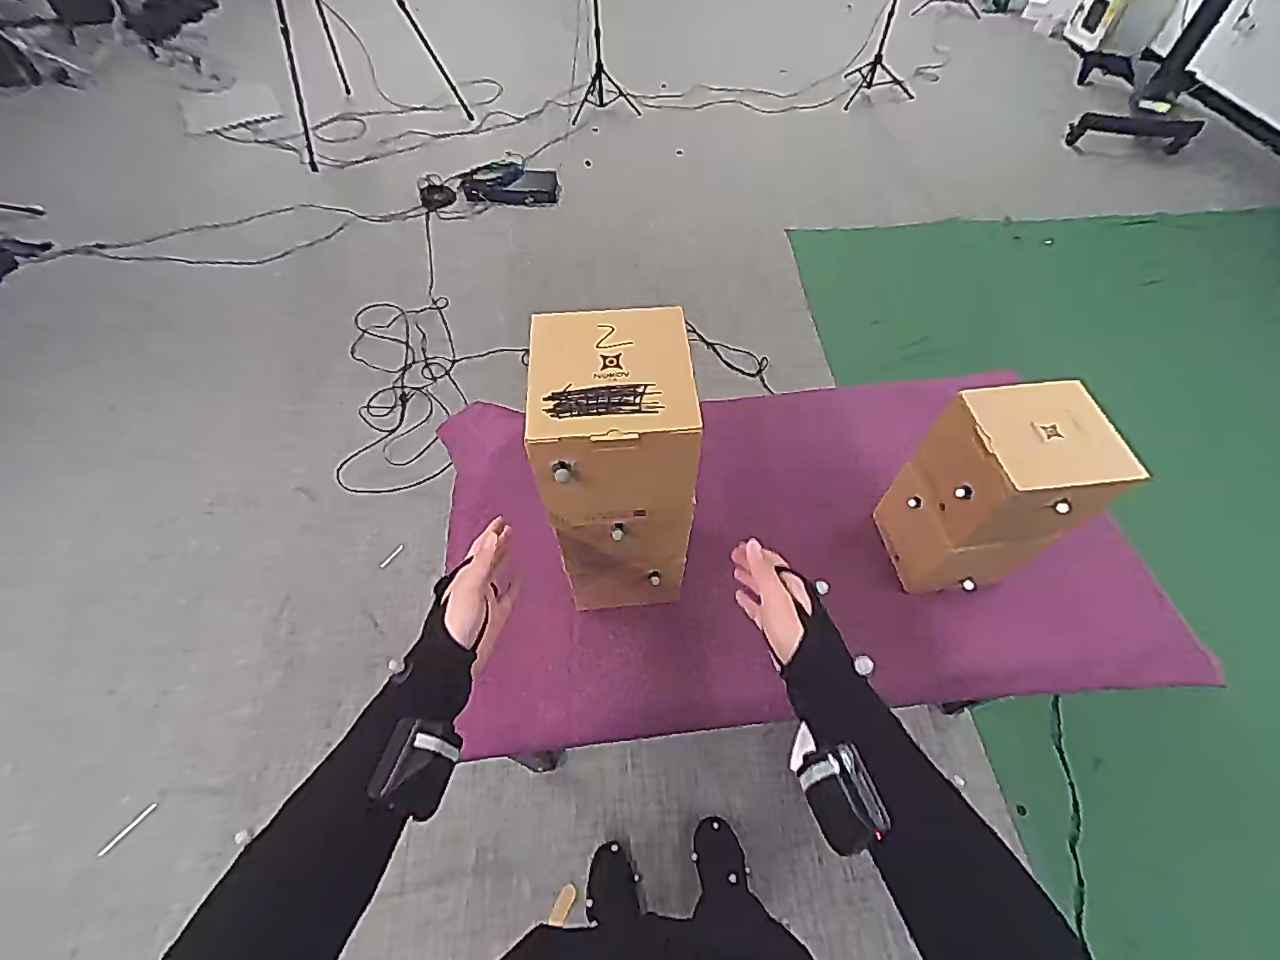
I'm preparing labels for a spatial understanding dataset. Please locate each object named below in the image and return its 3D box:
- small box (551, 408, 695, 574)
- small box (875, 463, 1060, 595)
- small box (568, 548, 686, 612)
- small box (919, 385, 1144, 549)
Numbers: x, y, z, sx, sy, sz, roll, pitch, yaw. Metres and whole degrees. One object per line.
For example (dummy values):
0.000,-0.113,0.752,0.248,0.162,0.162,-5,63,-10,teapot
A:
-0.026,0.020,0.758,0.179,0.176,0.168,-5,57,-2,small box
0.529,0.080,0.903,0.179,0.176,0.168,-6,56,-3,small box
-0.025,0.107,0.894,0.179,0.176,0.168,-5,56,-3,small box
0.527,-0.012,0.767,0.179,0.176,0.168,-5,57,-2,small box
